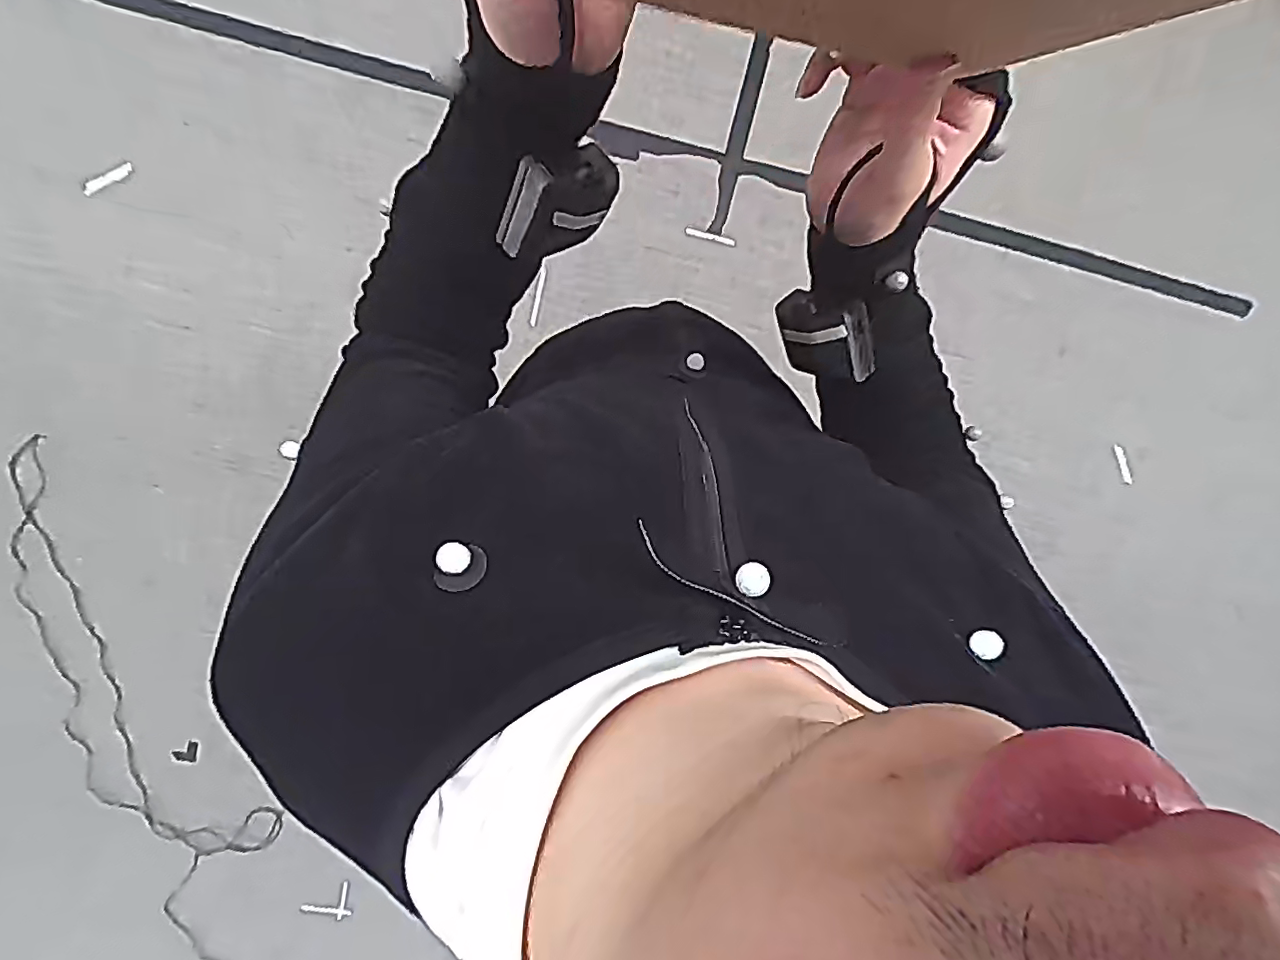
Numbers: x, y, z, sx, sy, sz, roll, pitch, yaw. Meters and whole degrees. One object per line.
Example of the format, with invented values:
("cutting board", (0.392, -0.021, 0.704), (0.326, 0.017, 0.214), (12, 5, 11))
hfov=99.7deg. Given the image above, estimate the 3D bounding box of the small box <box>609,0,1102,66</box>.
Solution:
("small box", (0.083, -0.221, 0.121), (0.179, 0.176, 0.168), (-5, 116, -19))
